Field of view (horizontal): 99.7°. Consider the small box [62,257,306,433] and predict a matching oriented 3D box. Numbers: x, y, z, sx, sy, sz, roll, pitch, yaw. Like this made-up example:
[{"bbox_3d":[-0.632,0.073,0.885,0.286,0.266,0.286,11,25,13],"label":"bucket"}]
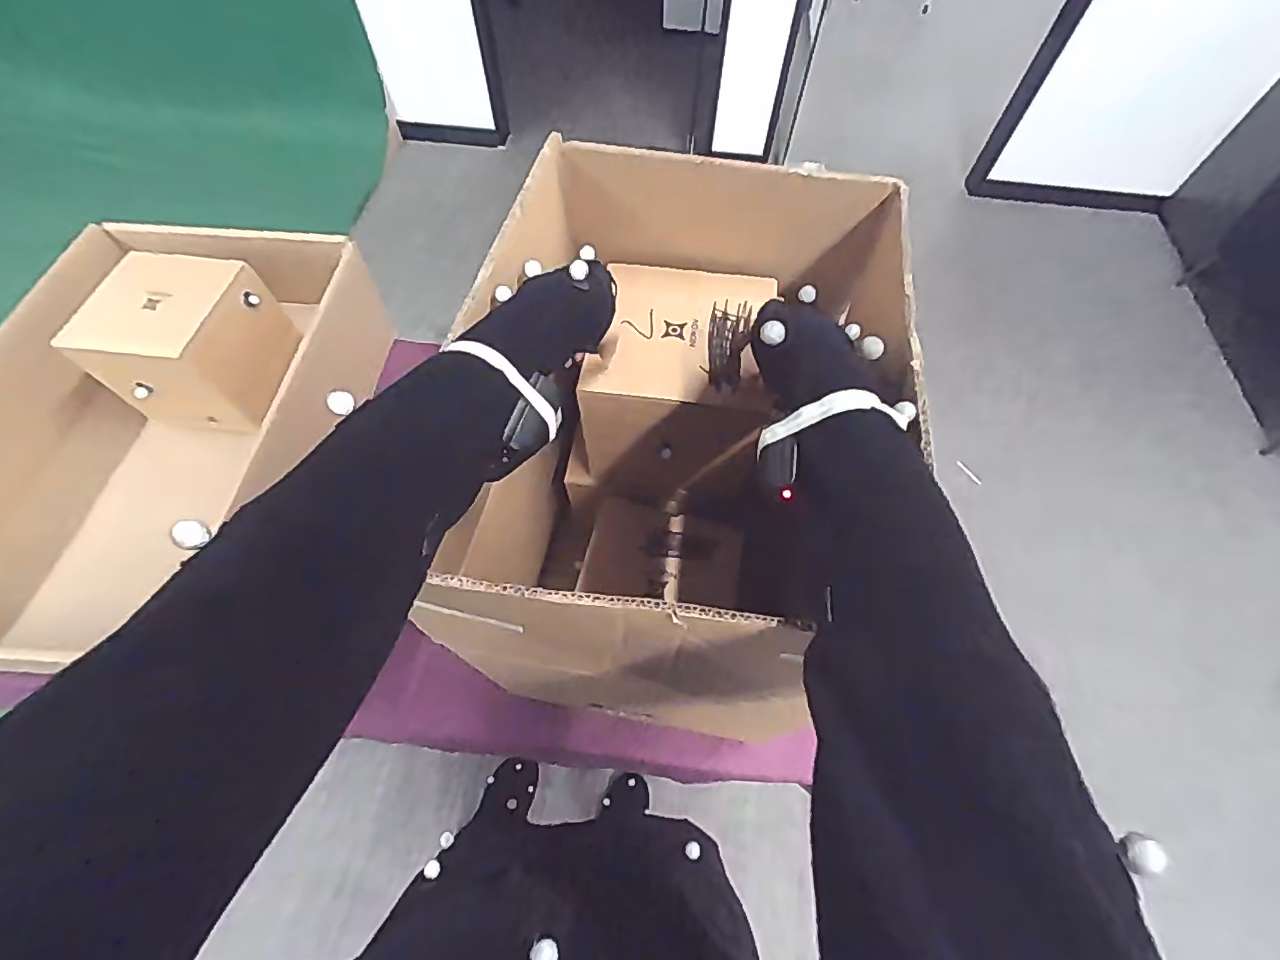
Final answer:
[{"bbox_3d":[-0.618,-0.184,0.765,0.168,0.176,0.179,6,61,3],"label":"small box"}]
